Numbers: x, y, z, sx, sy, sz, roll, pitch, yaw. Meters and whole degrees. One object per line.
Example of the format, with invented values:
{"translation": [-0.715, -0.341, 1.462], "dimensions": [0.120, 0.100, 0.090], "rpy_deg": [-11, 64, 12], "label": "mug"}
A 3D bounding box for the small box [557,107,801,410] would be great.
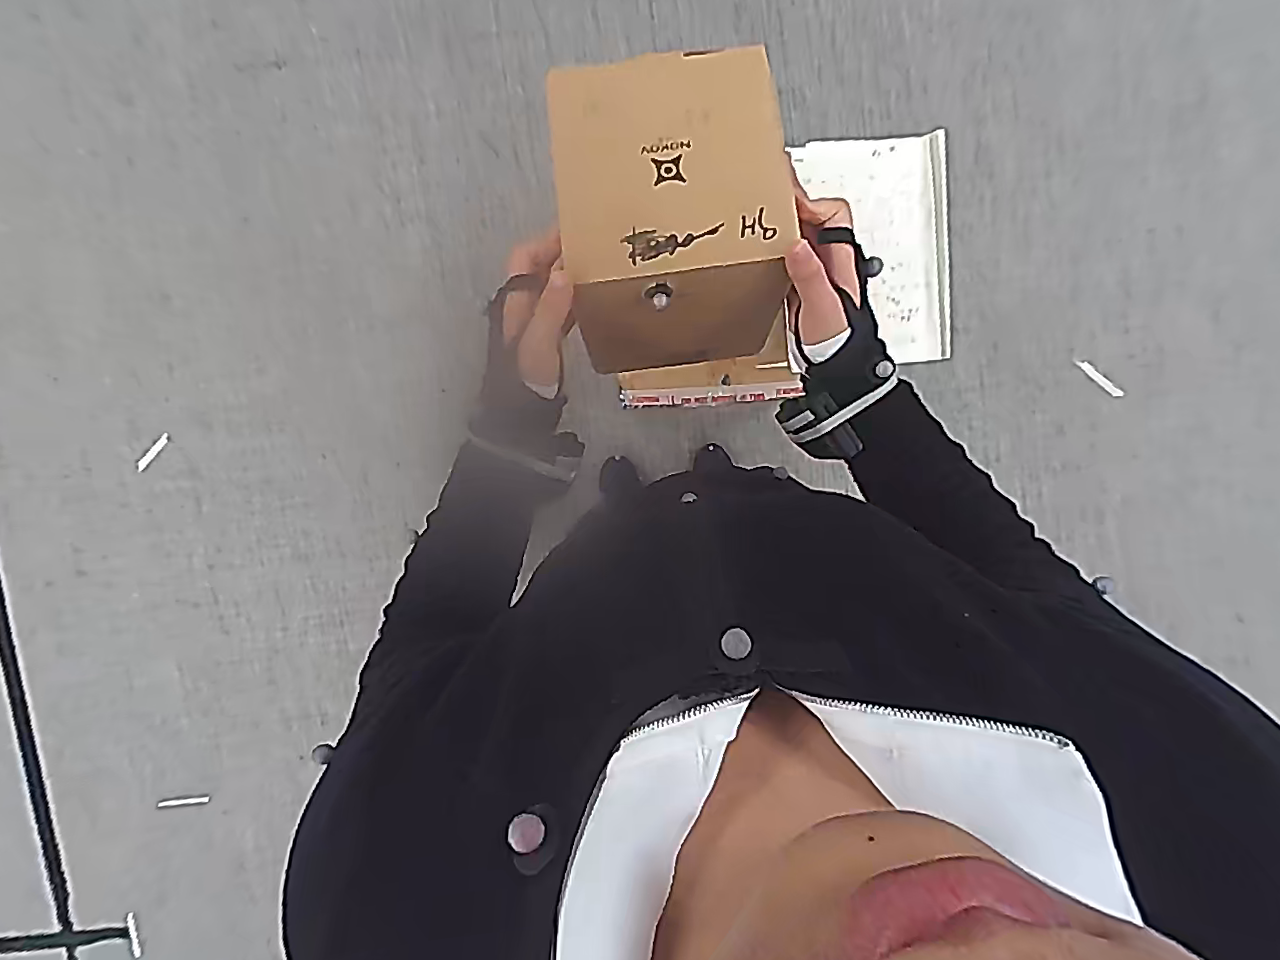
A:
{"translation": [0.026, -0.177, 0.475], "dimensions": [0.168, 0.176, 0.179], "rpy_deg": [-7, 79, 1], "label": "small box"}

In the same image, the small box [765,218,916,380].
{"translation": [0.260, -0.242, 0.757], "dimensions": [0.168, 0.176, 0.179], "rpy_deg": [-5, 96, -2], "label": "small box"}
